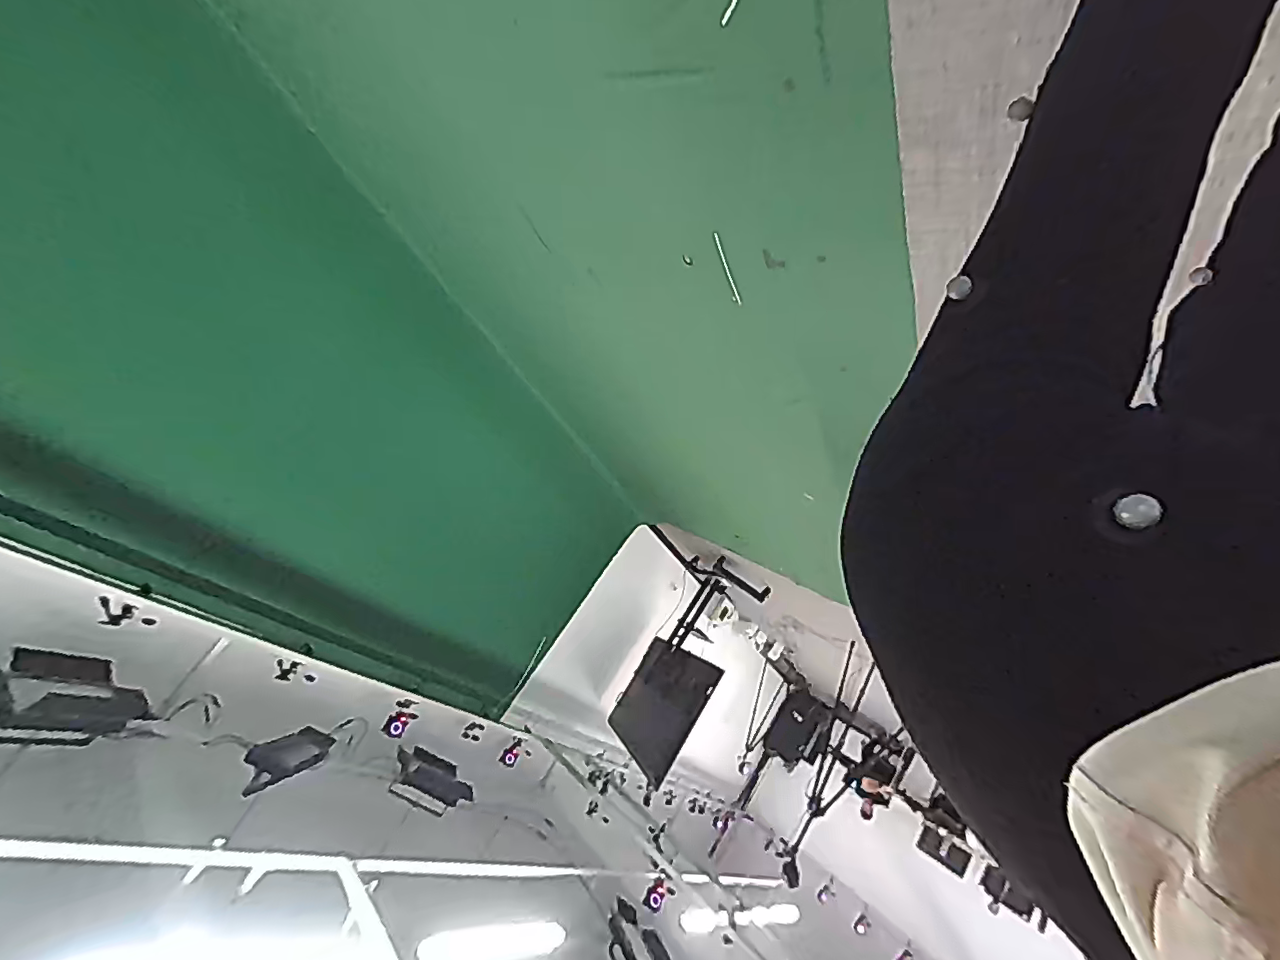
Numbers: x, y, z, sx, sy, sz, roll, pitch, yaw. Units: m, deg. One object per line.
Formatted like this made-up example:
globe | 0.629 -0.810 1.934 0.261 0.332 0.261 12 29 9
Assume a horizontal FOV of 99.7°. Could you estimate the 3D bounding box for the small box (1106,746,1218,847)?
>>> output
small box | 1.422 0.857 1.480 0.179 0.176 0.168 21 159 44
